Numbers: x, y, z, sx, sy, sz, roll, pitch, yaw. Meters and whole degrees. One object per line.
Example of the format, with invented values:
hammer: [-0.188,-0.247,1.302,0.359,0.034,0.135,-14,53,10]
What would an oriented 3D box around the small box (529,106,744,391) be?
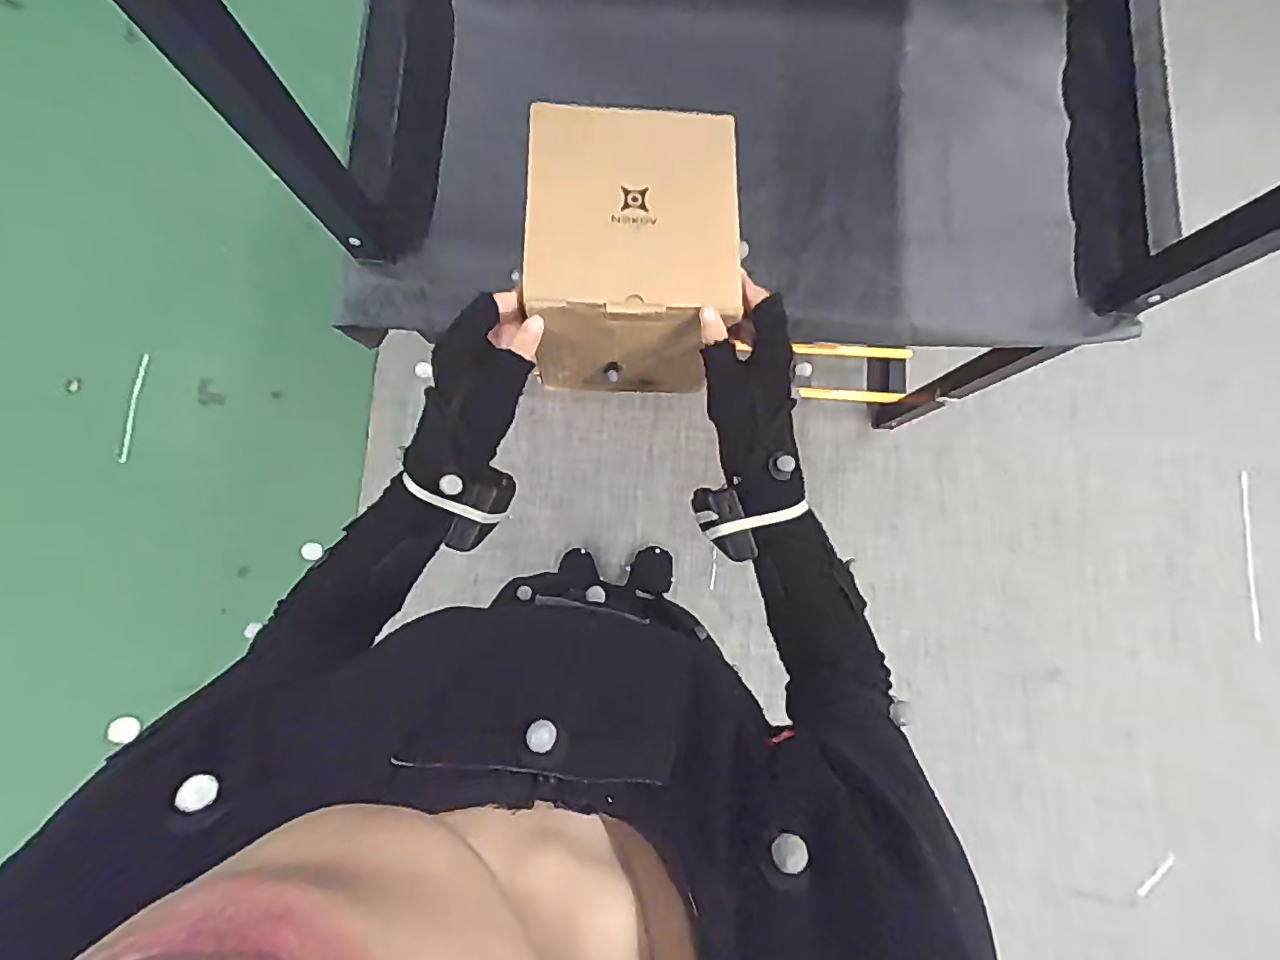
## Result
small box: [-0.009,-0.197,0.501,0.168,0.176,0.179,1,78,-5]

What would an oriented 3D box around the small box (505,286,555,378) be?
small box: [-0.237,-0.369,1.374,0.168,0.176,0.179,3,85,-1]
